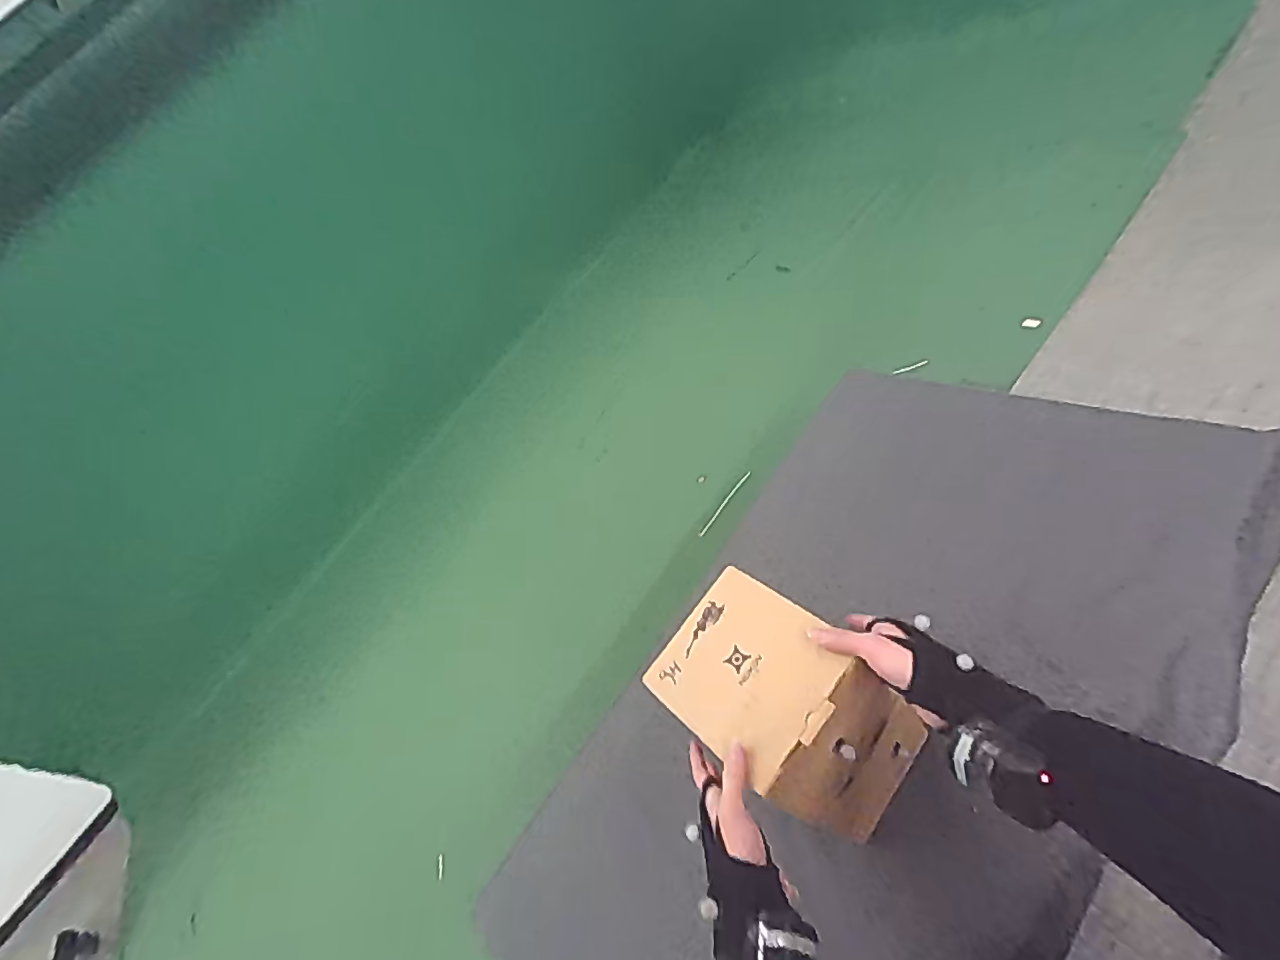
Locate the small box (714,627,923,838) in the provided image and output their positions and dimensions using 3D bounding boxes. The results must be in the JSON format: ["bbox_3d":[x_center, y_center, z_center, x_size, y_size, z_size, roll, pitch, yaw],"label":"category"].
[{"bbox_3d":[0.237,0.329,0.703,0.168,0.176,0.179,-52,40,-11],"label":"small box"}]
